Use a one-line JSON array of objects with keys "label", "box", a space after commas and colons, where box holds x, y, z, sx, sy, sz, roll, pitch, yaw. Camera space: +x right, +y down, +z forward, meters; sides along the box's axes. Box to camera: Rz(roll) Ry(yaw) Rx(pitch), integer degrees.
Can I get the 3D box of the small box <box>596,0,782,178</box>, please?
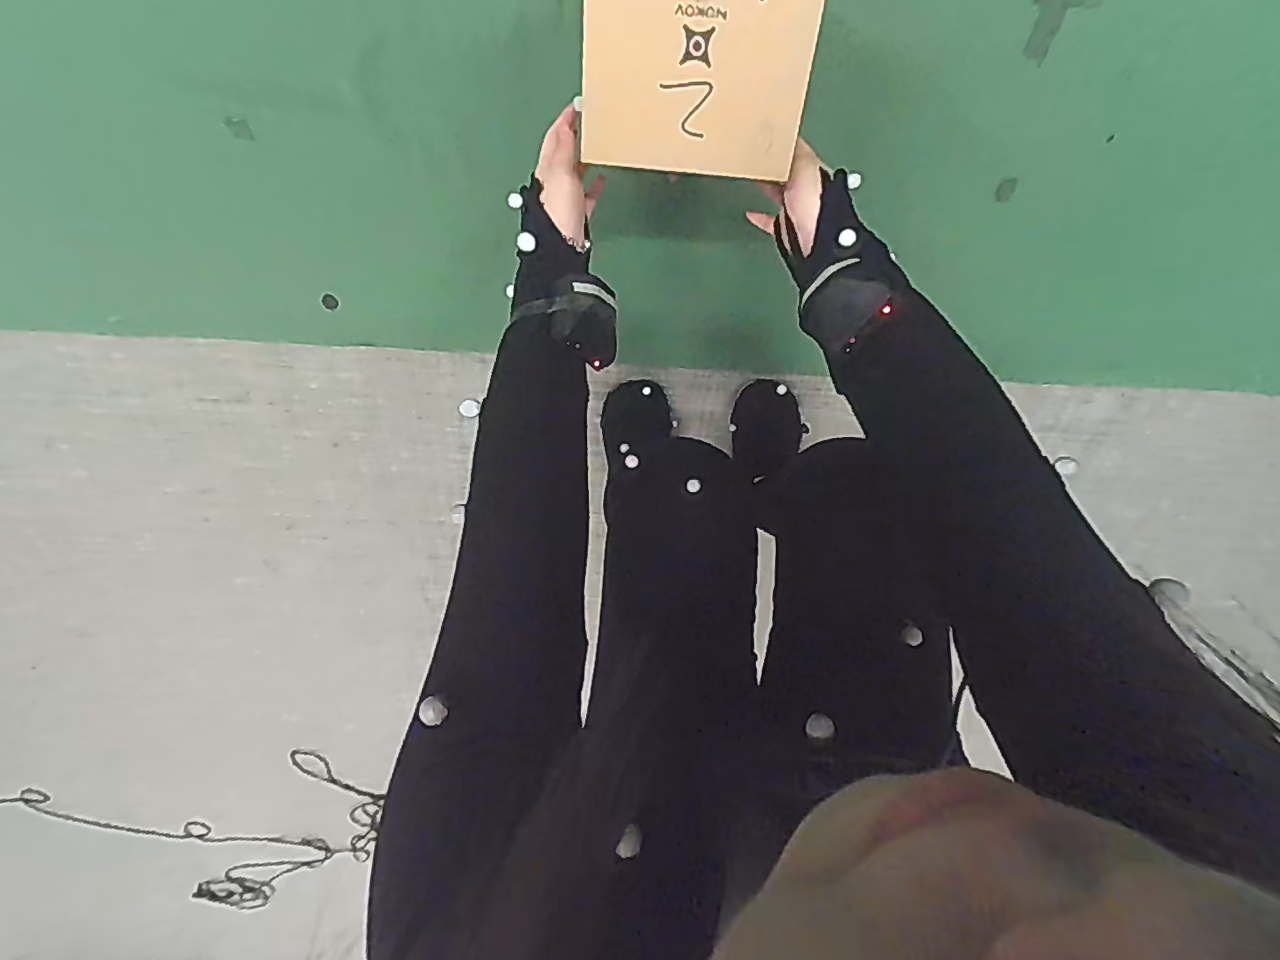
[{"label": "small box", "box": [0.046, -0.438, 0.583, 0.168, 0.176, 0.179, 4, 122, -1]}]
